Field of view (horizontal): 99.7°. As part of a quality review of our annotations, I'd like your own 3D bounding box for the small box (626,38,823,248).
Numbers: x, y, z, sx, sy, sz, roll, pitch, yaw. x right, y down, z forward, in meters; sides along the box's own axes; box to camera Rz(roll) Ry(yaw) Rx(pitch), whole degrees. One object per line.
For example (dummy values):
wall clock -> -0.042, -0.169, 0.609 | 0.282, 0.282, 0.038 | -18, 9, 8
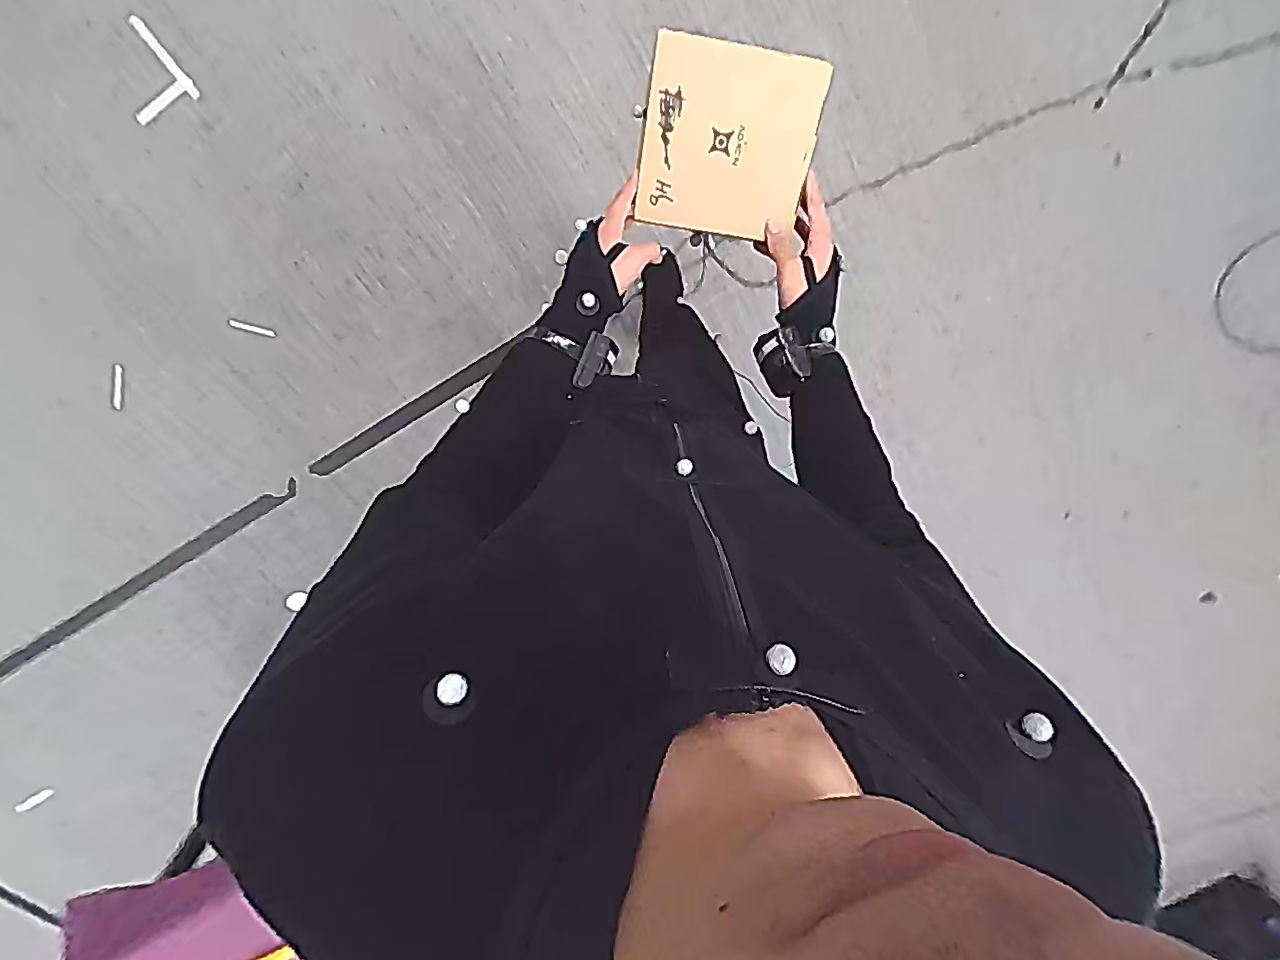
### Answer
small box -> 0.082, -0.378, 0.634 | 0.179, 0.176, 0.168 | 7, 115, -6
